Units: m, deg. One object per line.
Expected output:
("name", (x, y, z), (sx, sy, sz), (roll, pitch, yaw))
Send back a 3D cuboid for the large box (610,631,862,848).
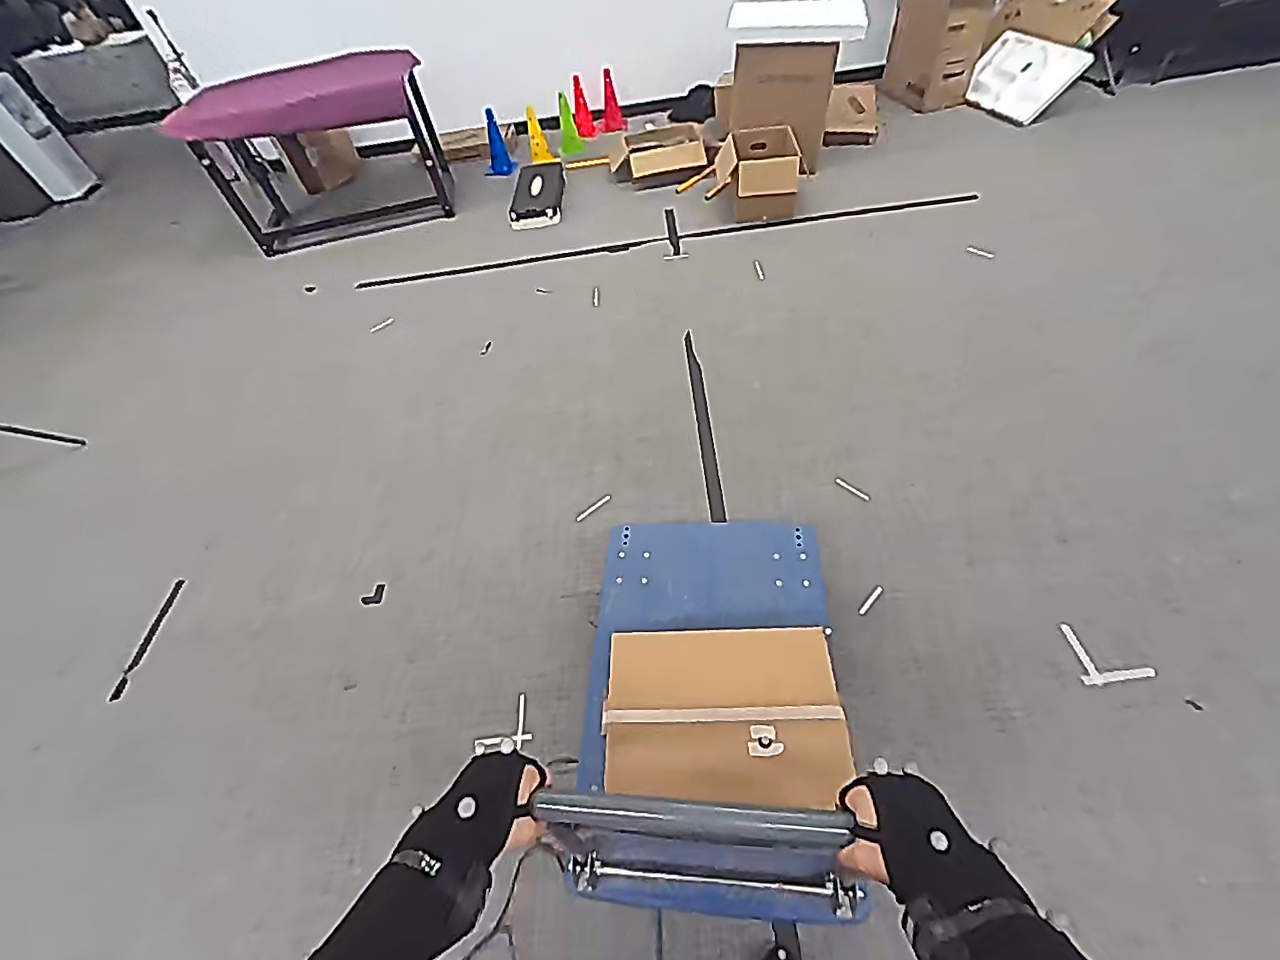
("large box", (0.160, 0.512, 1.055), (0.408, 0.320, 0.320), (-3, 51, 4))
